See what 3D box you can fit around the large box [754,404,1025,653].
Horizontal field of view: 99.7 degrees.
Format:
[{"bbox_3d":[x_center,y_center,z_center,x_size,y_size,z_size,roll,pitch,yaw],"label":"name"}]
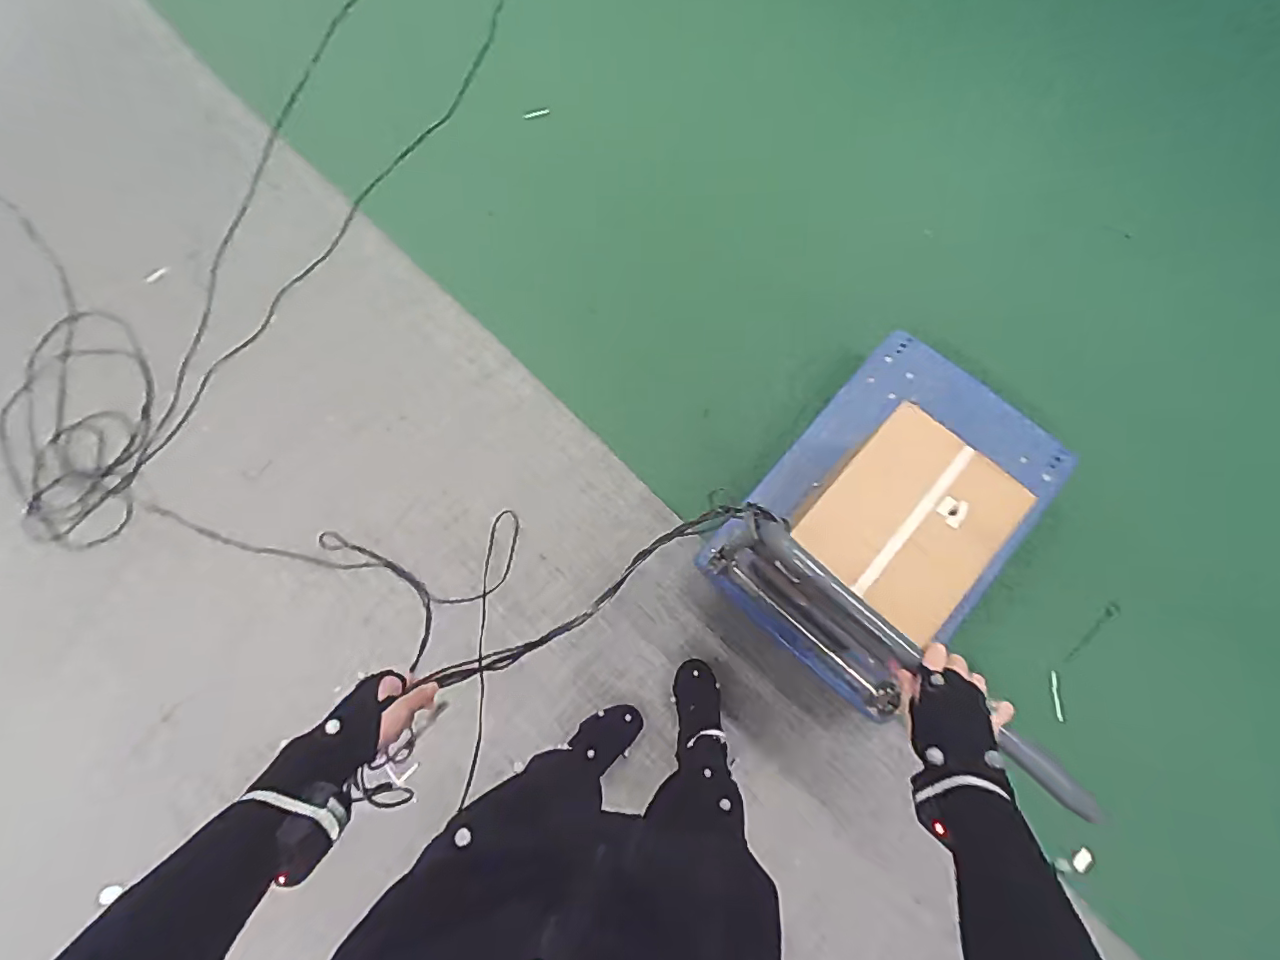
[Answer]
[{"bbox_3d":[0.514,0.121,1.192,0.320,0.320,0.408,42,78,9],"label":"large box"}]
